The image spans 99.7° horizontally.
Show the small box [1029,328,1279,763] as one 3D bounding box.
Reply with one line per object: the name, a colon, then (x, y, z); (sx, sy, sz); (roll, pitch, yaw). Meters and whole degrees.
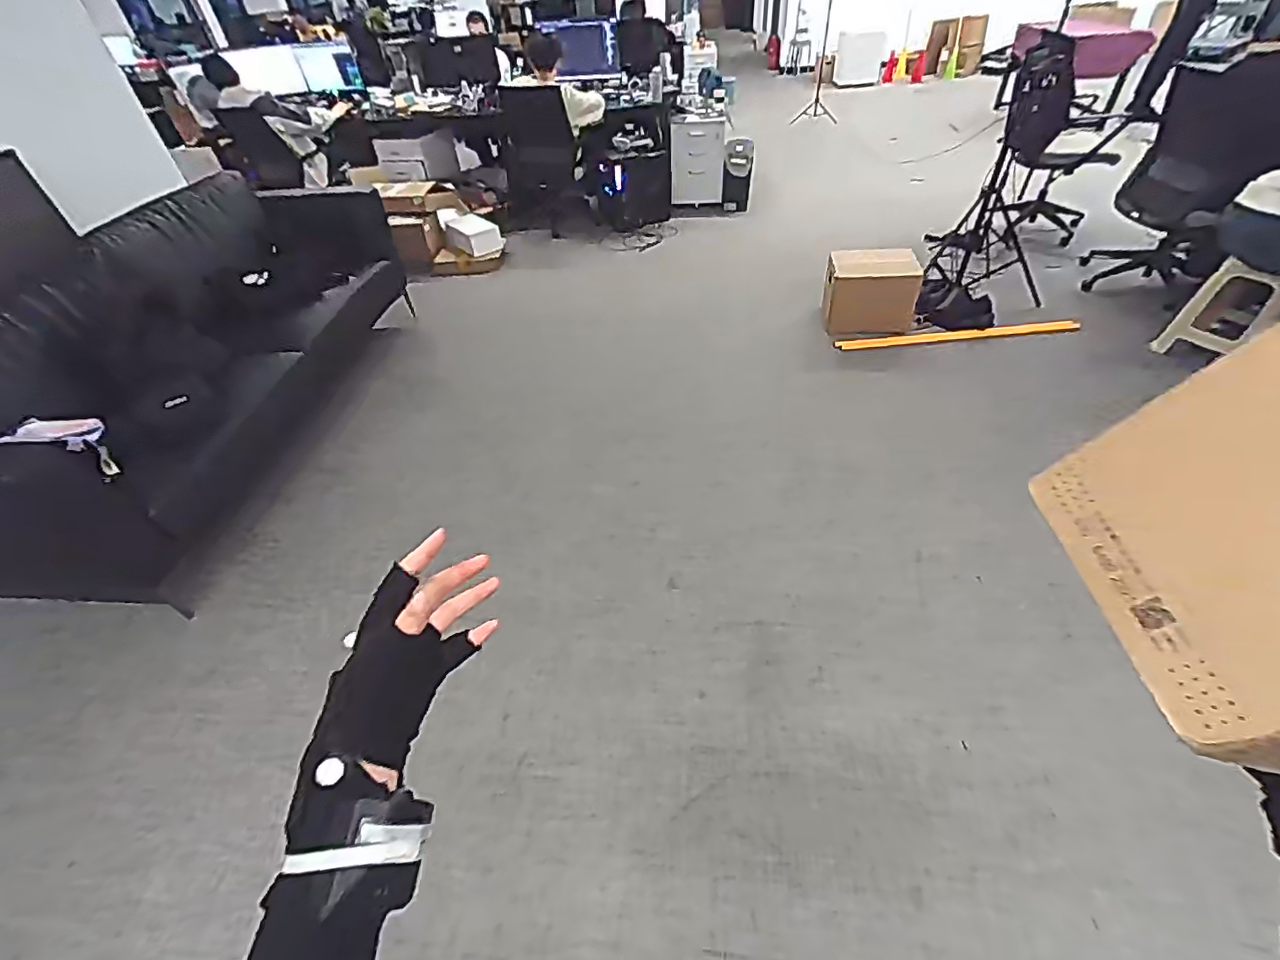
small box: (0.354, 0.035, 0.271); (0.179, 0.176, 0.168); (17, 47, -20)
